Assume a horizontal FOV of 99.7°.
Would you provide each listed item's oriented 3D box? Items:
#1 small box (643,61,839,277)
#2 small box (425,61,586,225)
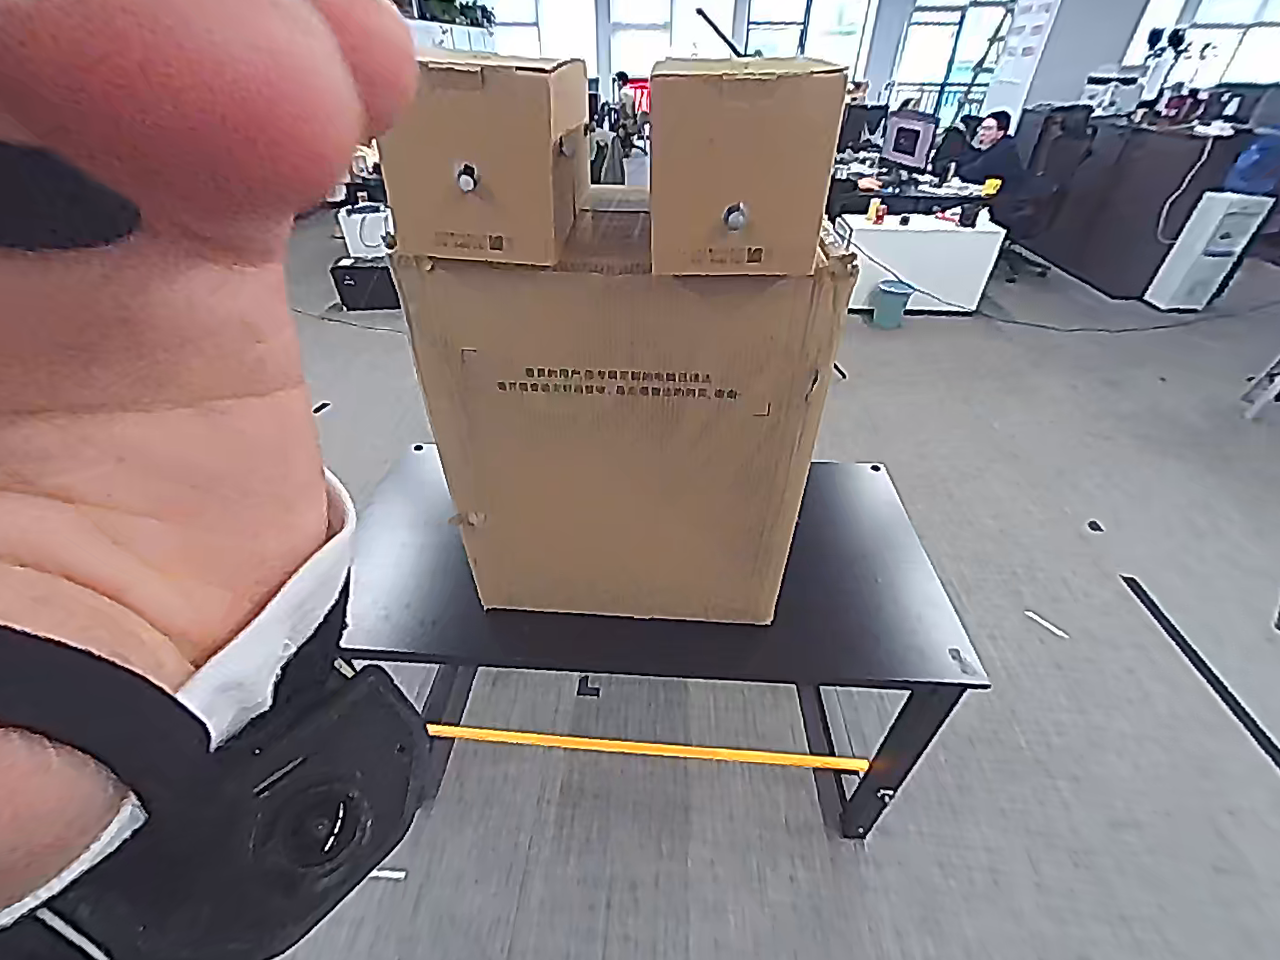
[{"bbox_3d":[0.090,-0.325,0.564,0.168,0.176,0.179,0,41,3],"label":"small box"},{"bbox_3d":[-0.166,-0.458,0.734,0.168,0.176,0.179,1,38,1],"label":"small box"}]
